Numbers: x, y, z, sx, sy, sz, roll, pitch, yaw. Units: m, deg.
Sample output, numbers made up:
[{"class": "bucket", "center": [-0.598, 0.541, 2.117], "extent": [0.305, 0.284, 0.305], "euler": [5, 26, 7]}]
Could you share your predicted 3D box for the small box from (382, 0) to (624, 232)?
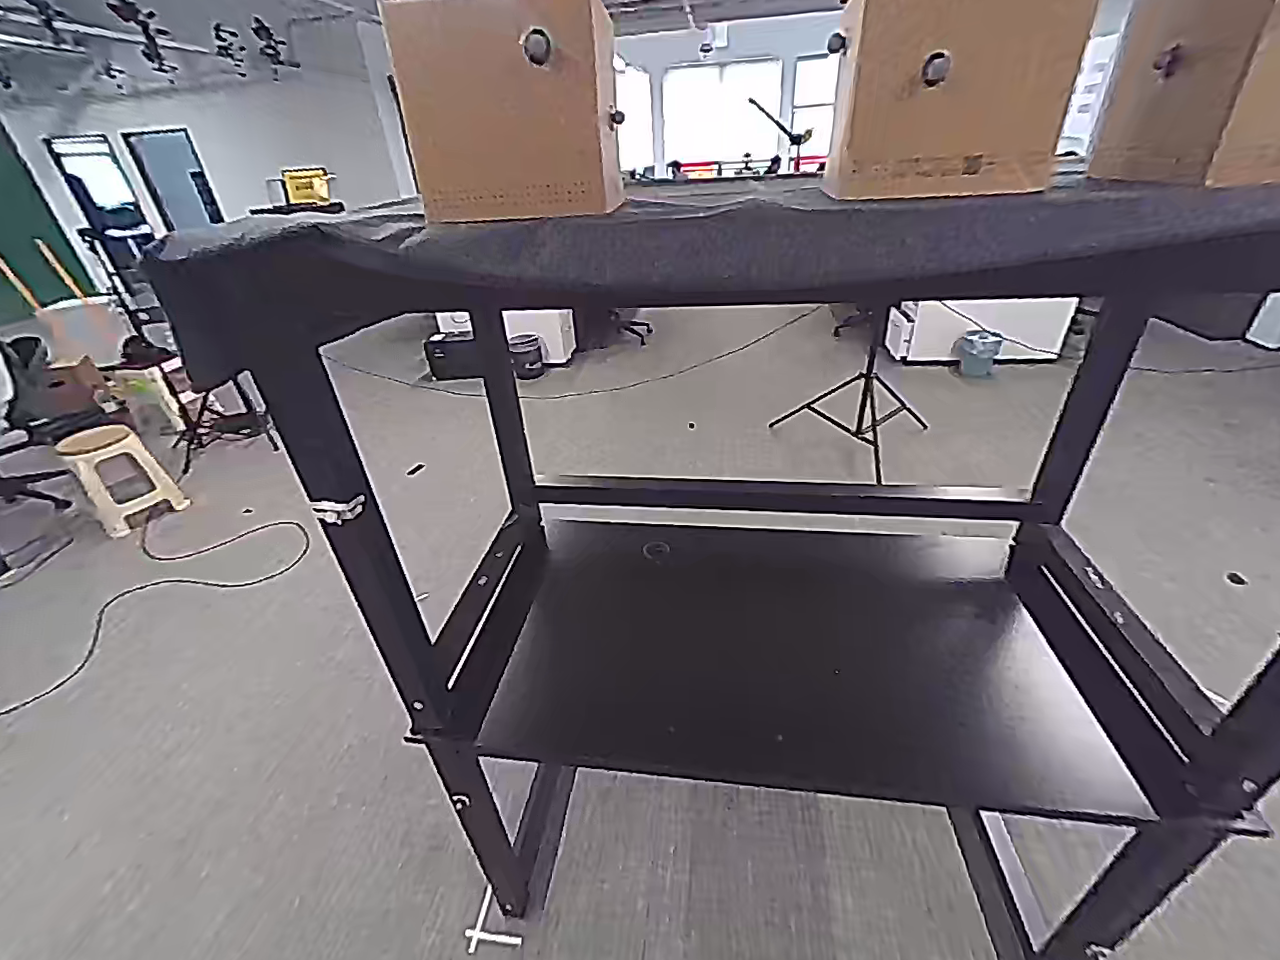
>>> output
[{"class": "small box", "center": [-0.112, -0.349, 0.534], "extent": [0.179, 0.176, 0.168], "euler": [-1, 30, 5]}]

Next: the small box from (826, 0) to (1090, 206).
[{"class": "small box", "center": [0.270, -0.350, 0.495], "extent": [0.168, 0.176, 0.179], "euler": [3, 31, 12]}]
